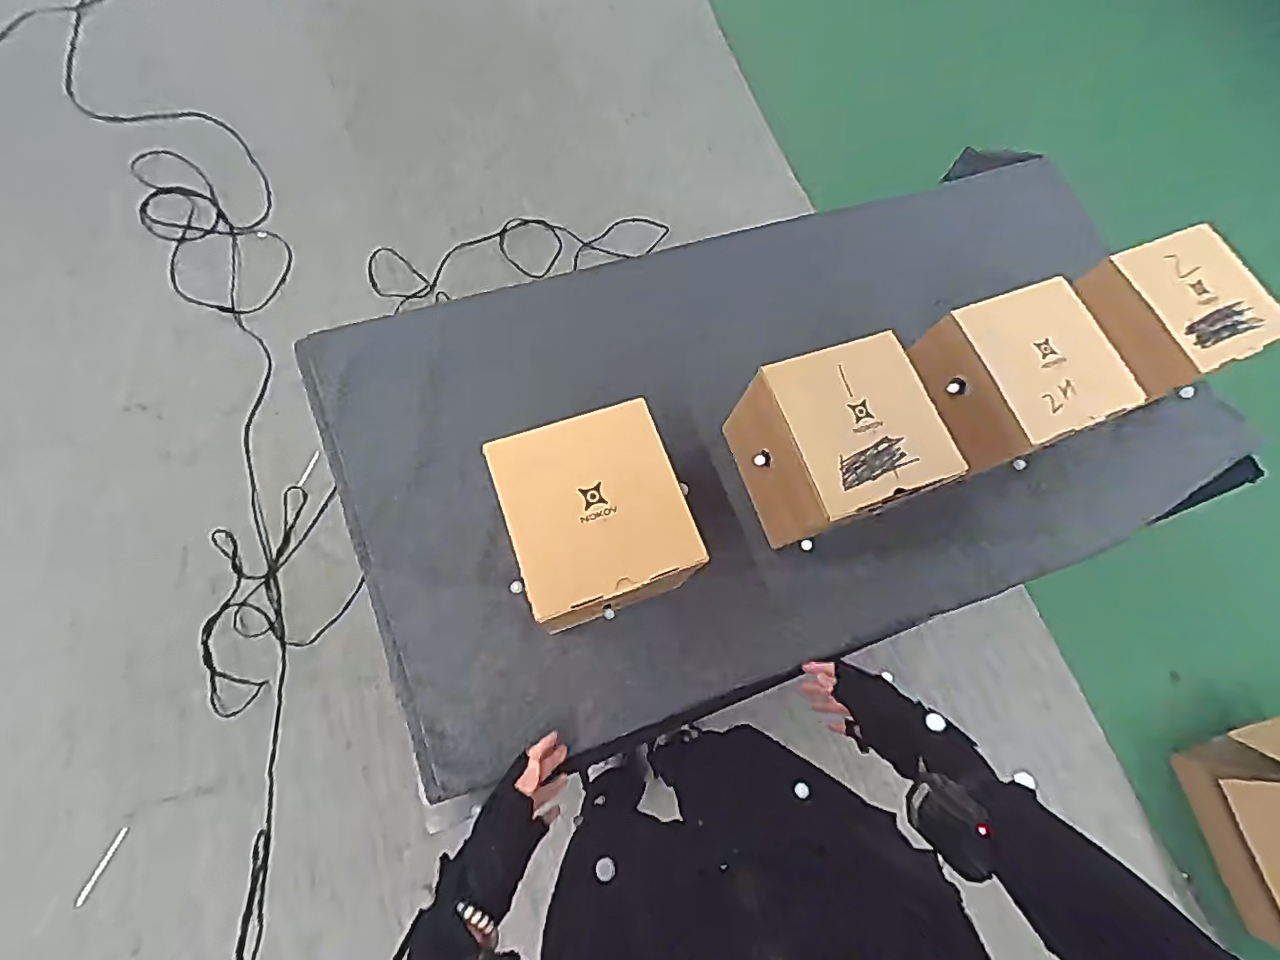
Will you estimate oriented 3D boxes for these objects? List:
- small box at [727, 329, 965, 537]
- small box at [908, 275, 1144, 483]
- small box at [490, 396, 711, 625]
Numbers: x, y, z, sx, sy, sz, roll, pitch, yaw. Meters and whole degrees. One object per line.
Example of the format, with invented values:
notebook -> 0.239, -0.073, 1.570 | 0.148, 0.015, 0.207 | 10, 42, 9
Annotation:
small box -> 0.222, -0.042, 0.633 | 0.168, 0.176, 0.179 | -17, 75, -11
small box -> 0.447, -0.119, 0.681 | 0.168, 0.176, 0.179 | -19, 76, -11
small box -> -0.048, 0.041, 0.578 | 0.168, 0.176, 0.179 | -18, 75, -12
